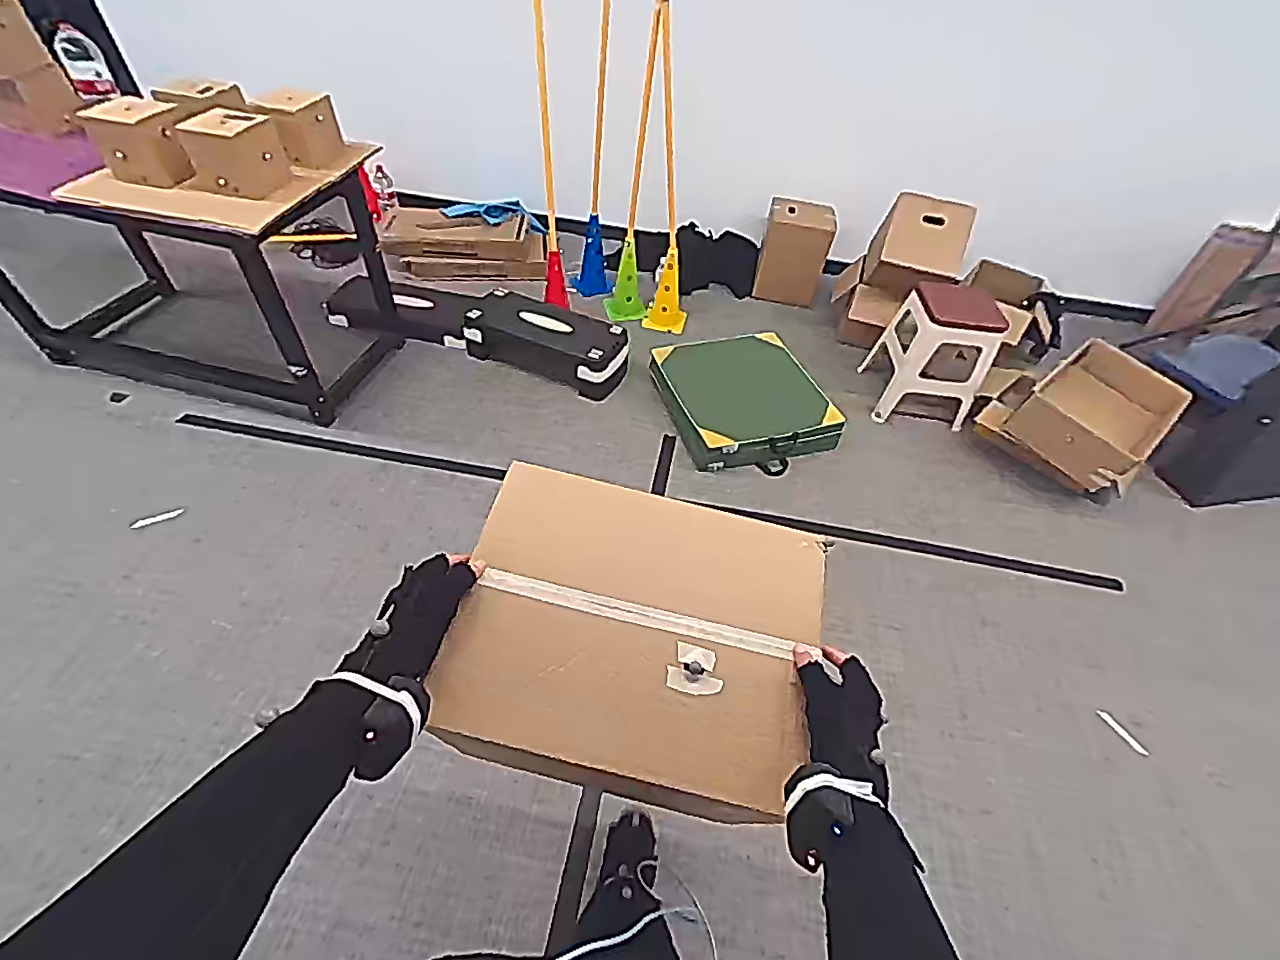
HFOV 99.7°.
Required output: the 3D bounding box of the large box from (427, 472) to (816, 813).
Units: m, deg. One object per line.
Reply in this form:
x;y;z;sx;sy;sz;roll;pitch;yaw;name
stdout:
-0.014;0.235;0.742;0.408;0.320;0.320;14;57;1;large box
